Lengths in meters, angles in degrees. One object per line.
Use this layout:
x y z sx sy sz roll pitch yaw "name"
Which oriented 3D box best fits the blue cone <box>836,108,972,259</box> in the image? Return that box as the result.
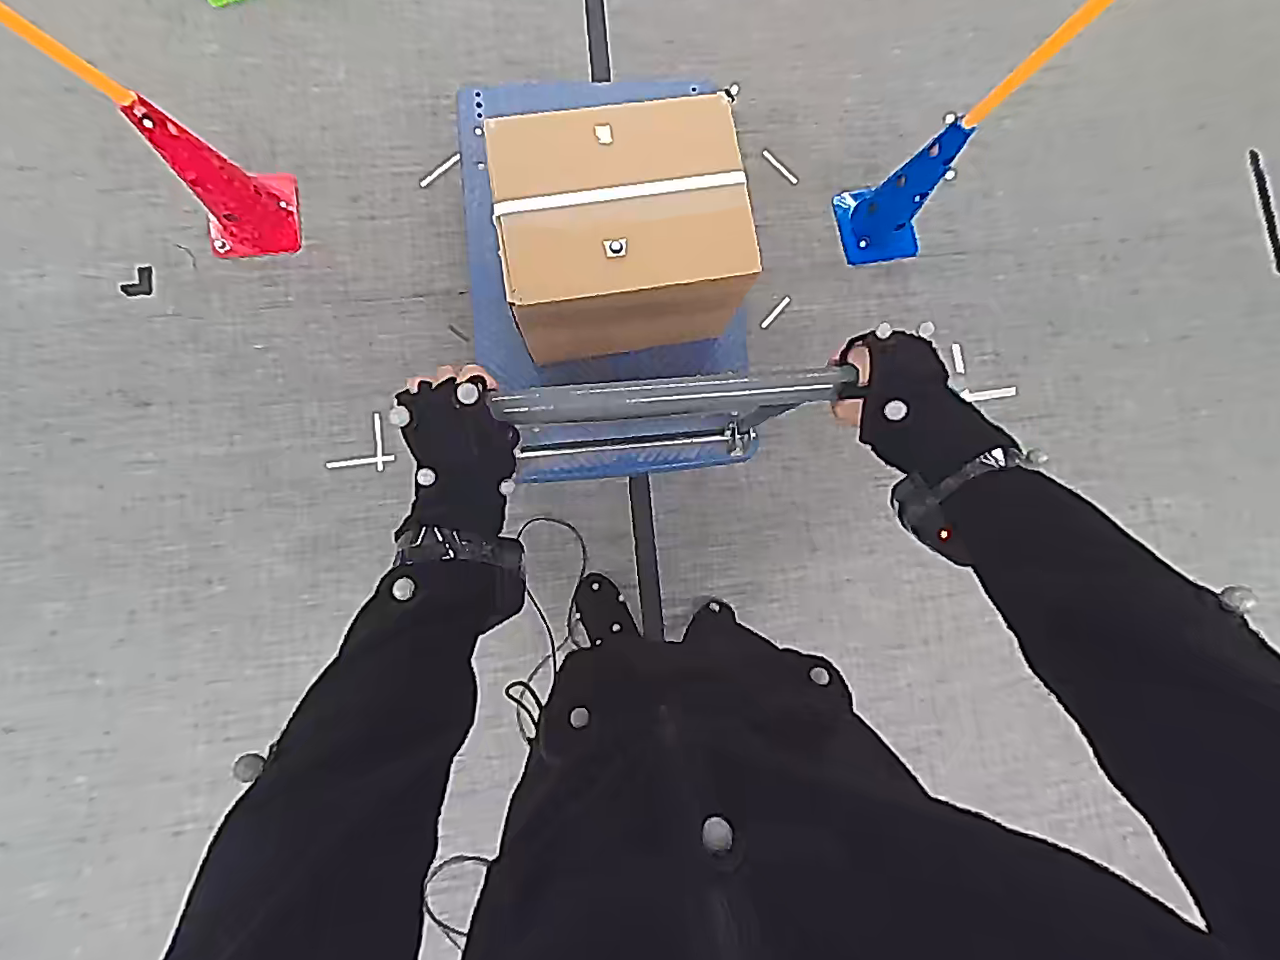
0.633 -0.692 1.256 0.193 0.380 0.192 -10 84 -6 "blue cone"
